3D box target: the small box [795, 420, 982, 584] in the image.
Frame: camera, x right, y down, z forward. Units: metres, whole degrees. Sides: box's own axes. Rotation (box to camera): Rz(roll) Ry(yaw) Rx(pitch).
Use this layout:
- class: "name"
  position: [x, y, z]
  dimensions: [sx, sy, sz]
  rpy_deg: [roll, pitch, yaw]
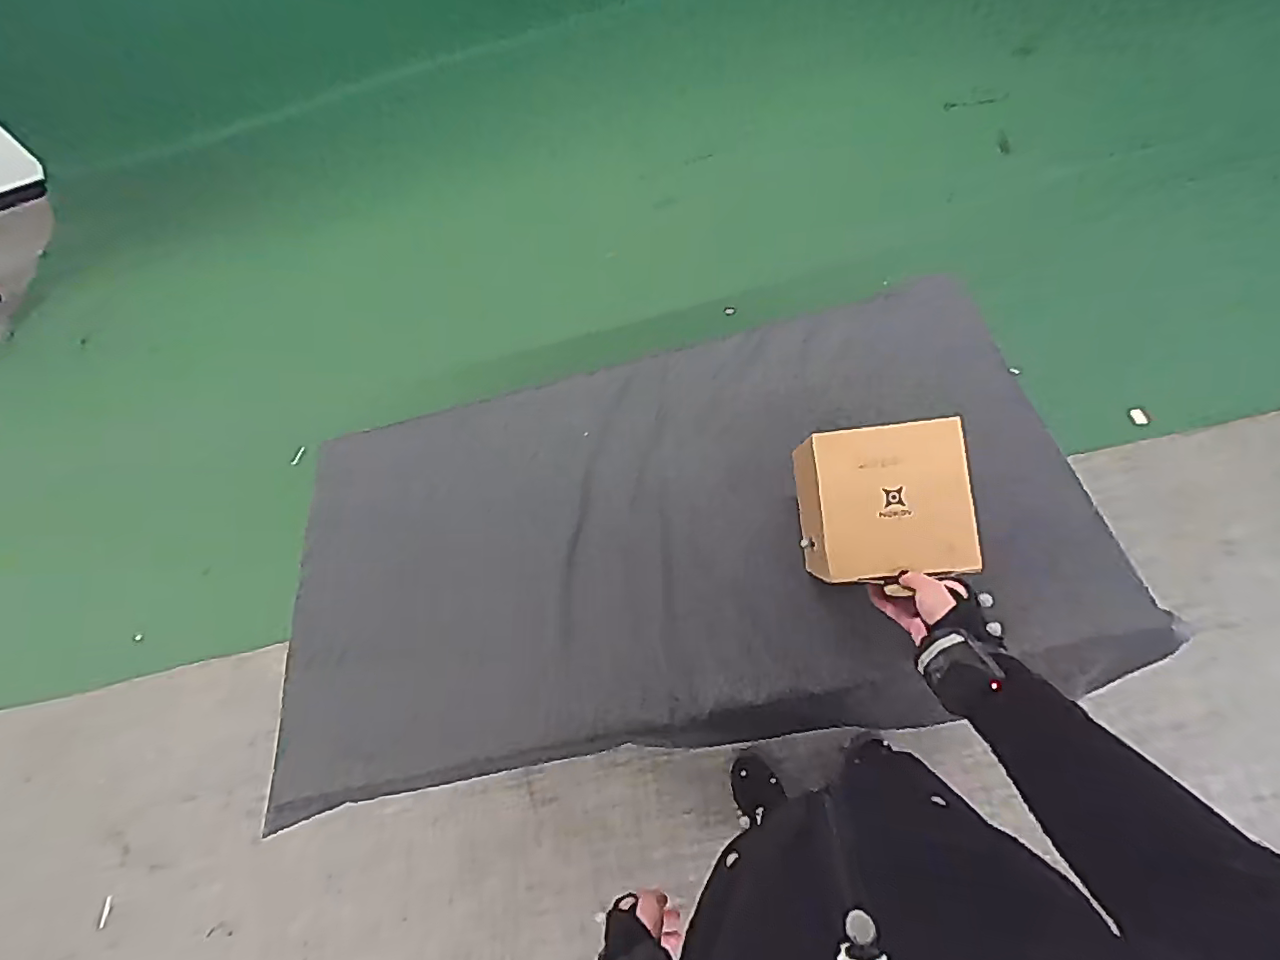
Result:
- class: "small box"
  position: [0.300, 0.033, 0.690]
  dimensions: [0.168, 0.176, 0.179]
  rpy_deg: [-6, 82, 7]
